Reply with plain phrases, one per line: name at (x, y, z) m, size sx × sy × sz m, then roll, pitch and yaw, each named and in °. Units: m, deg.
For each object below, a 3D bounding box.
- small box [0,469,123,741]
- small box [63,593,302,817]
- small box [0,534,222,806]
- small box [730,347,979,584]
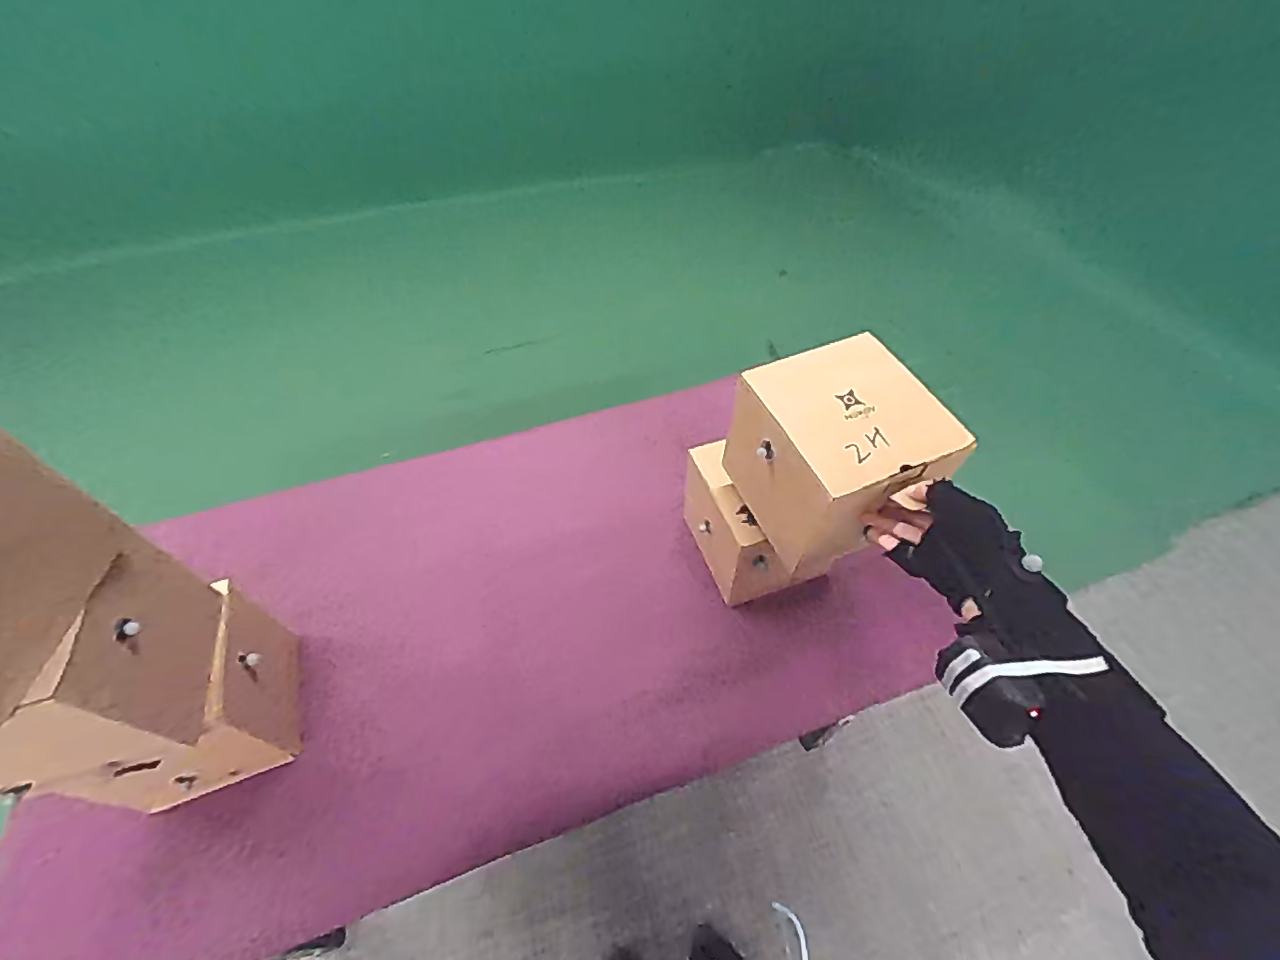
small box at (-0.536, 0.080, 0.377) m, size 0.168 × 0.176 × 0.179 m, roll 0°, pitch 54°, yaw 0°
small box at (-0.530, 0.269, 0.645) m, size 0.168 × 0.176 × 0.179 m, roll -18°, pitch 55°, yaw -13°
small box at (-0.534, 0.183, 0.505) m, size 0.168 × 0.176 × 0.179 m, roll -14°, pitch 53°, yaw -11°
small box at (0.216, -0.013, 0.606) m, size 0.168 × 0.176 × 0.179 m, roll -20°, pitch 59°, yaw -12°
